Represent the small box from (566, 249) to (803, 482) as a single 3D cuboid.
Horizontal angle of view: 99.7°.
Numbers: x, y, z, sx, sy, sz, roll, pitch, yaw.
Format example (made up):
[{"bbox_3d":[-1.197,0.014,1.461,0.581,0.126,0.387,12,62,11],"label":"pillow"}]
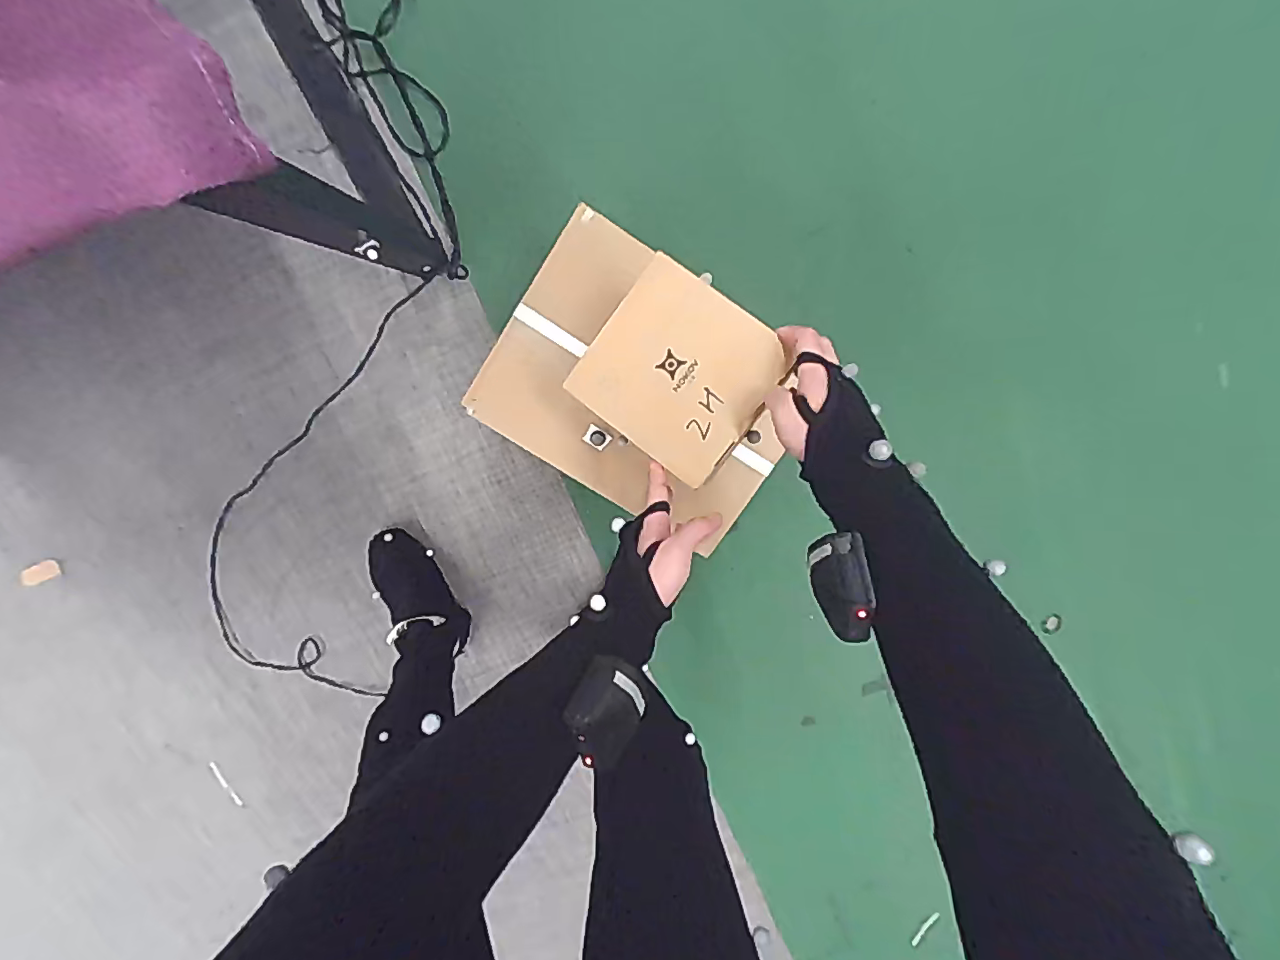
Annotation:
[{"bbox_3d":[0.053,-0.113,0.603,0.179,0.176,0.168,39,99,7],"label":"small box"}]
